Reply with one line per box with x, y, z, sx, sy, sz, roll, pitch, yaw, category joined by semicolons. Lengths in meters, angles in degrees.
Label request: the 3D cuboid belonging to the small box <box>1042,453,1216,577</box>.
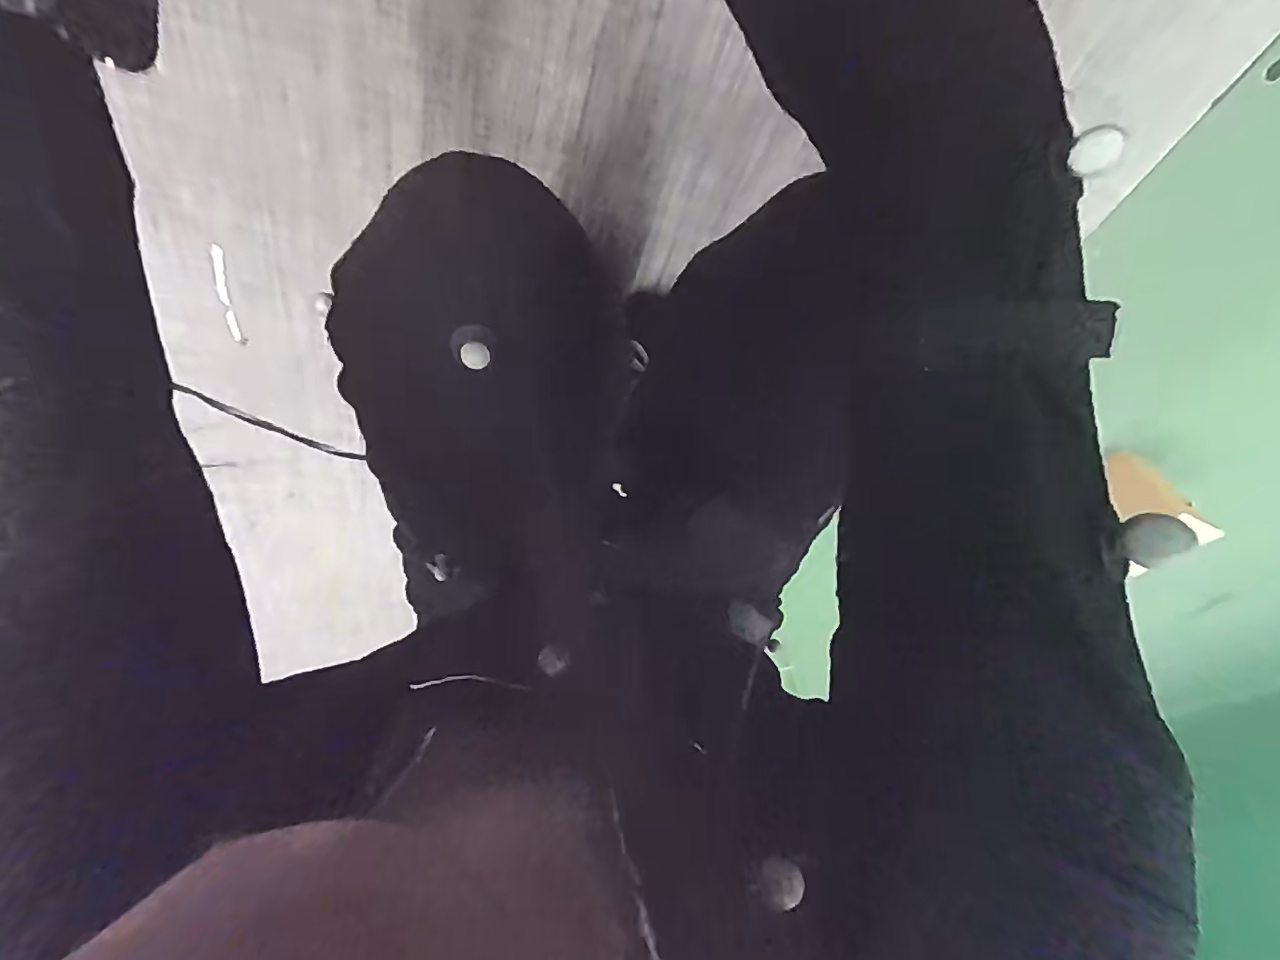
0.974;0.070;1.090;0.179;0.176;0.168;17;132;-26;small box
